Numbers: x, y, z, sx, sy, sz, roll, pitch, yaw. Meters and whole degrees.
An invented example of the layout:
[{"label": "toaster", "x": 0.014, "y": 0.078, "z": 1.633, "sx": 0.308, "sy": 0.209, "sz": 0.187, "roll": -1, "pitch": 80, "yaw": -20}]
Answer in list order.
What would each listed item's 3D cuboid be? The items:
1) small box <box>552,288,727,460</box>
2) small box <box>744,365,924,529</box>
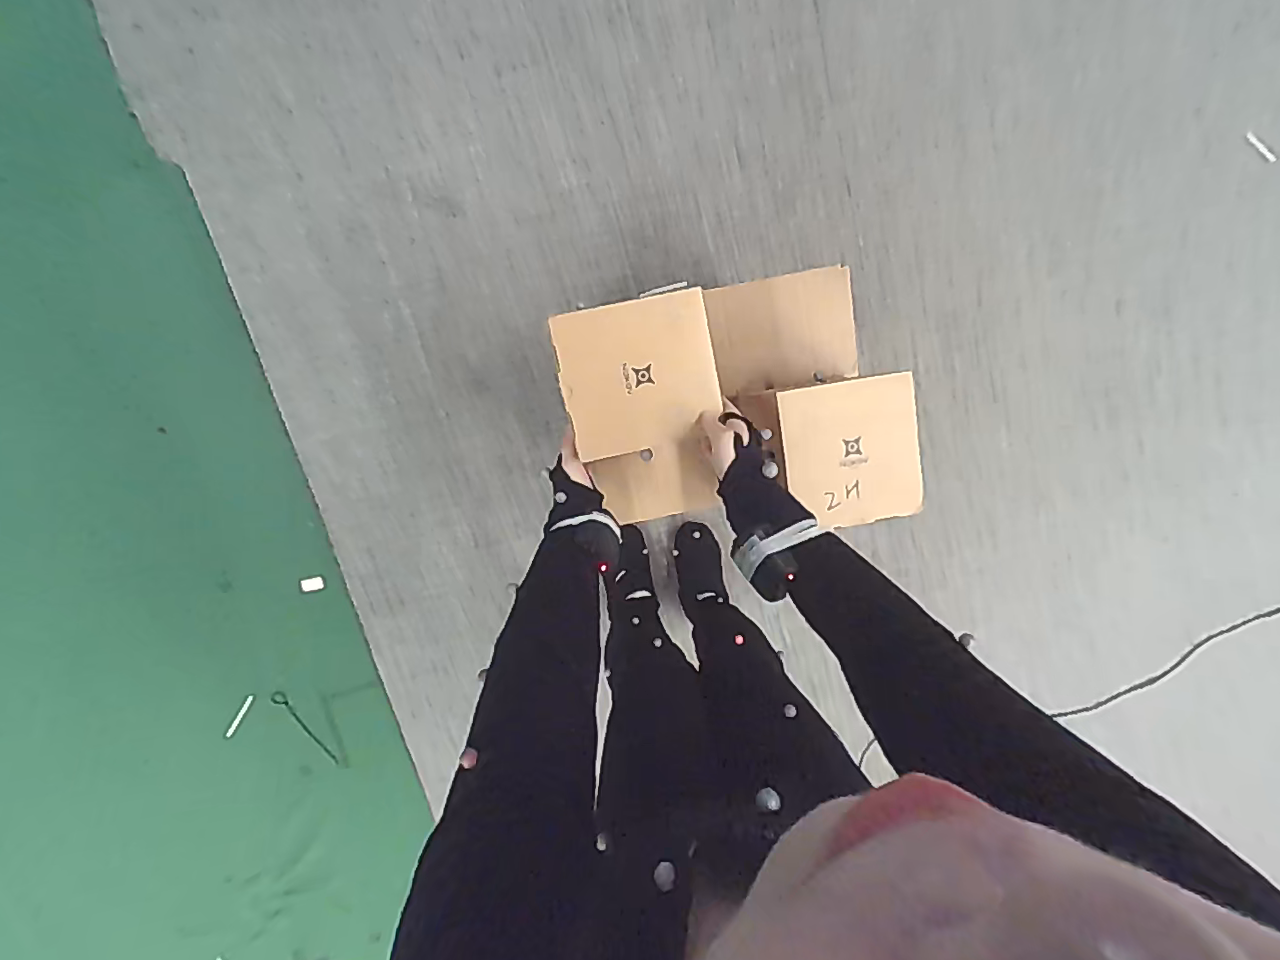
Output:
[{"label": "small box", "x": -0.004, "y": -0.130, "z": 0.684, "sx": 0.179, "sy": 0.176, "sz": 0.168, "roll": -12, "pitch": 99, "yaw": -1}, {"label": "small box", "x": 0.244, "y": -0.046, "z": 0.714, "sx": 0.168, "sy": 0.176, "sz": 0.179, "roll": -9, "pitch": 98, "yaw": -2}]
